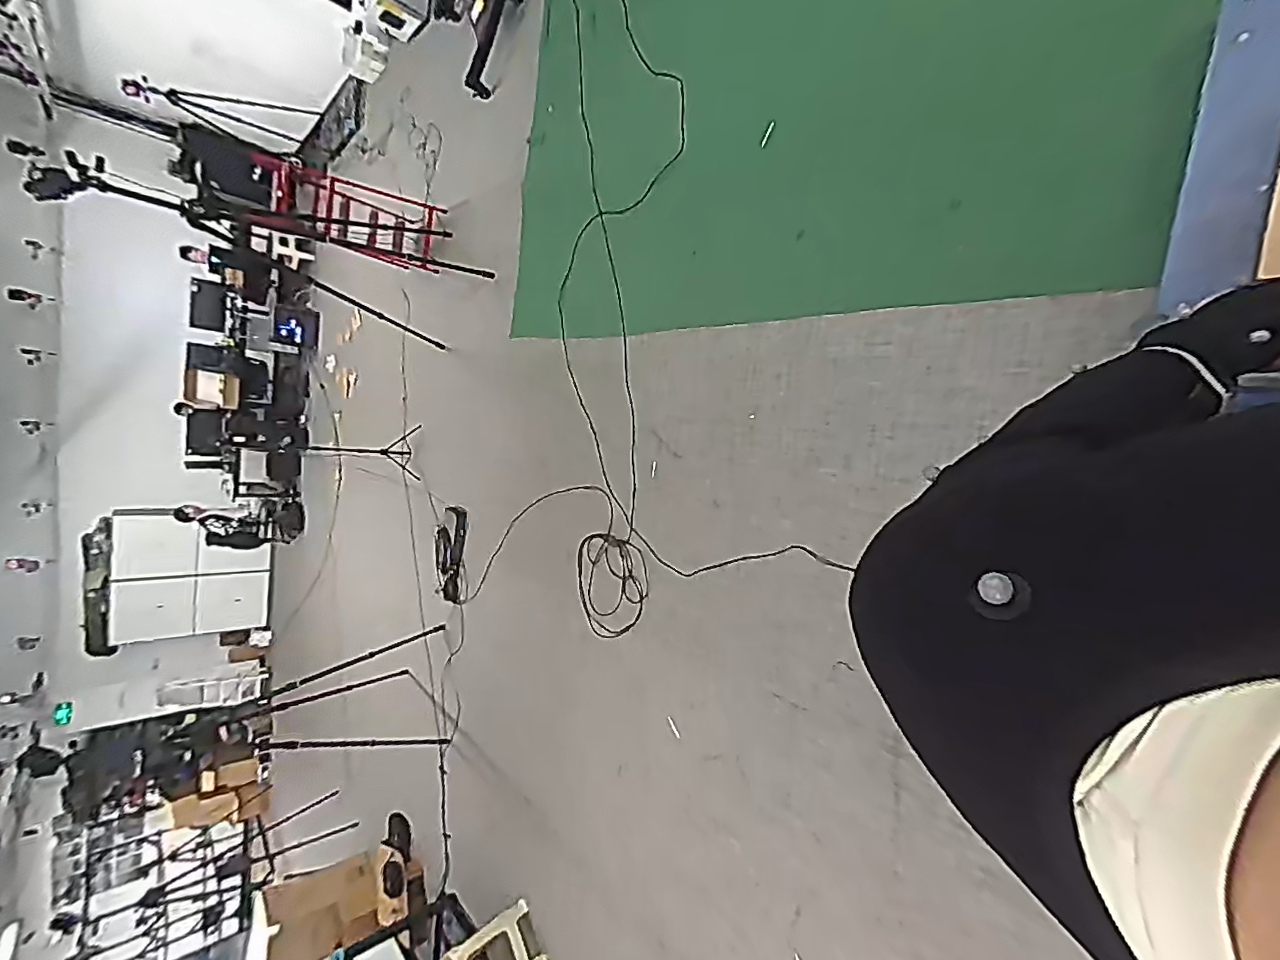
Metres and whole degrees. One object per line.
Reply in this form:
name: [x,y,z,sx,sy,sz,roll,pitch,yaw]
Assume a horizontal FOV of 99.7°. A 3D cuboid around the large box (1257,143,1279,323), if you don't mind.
large box: [1.161,-0.474,0.786,0.320,0.320,0.408,11,96,46]
